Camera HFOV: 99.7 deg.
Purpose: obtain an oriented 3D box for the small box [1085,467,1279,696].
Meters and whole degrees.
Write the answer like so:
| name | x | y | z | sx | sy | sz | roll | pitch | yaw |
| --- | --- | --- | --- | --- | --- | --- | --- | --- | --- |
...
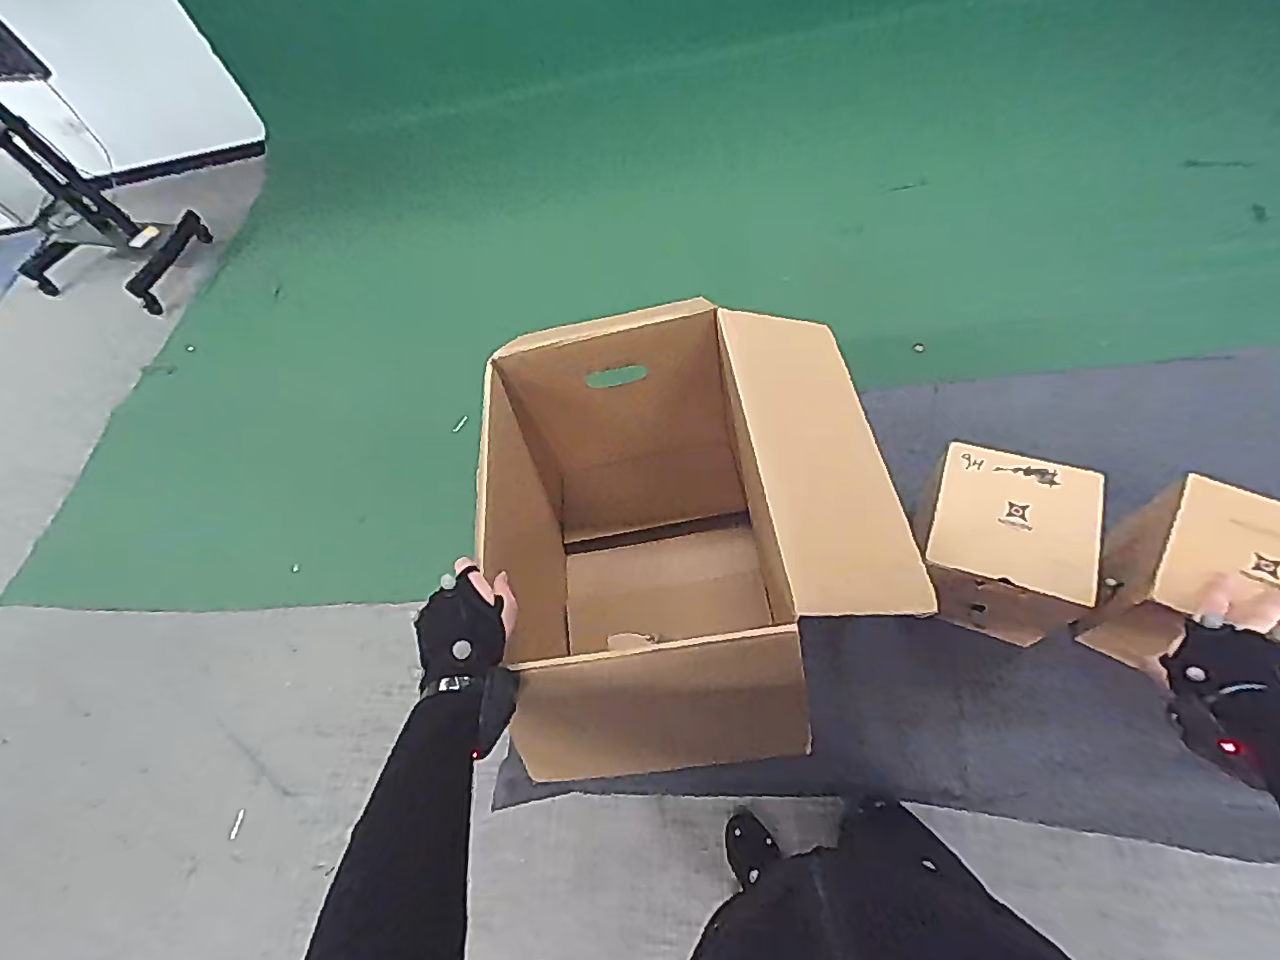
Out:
| name | x | y | z | sx | sy | sz | roll | pitch | yaw |
| --- | --- | --- | --- | --- | --- | --- | --- | --- | --- |
| small box | 0.659 | 0.123 | 0.621 | 0.168 | 0.176 | 0.179 | 26 | 69 | 24 |
